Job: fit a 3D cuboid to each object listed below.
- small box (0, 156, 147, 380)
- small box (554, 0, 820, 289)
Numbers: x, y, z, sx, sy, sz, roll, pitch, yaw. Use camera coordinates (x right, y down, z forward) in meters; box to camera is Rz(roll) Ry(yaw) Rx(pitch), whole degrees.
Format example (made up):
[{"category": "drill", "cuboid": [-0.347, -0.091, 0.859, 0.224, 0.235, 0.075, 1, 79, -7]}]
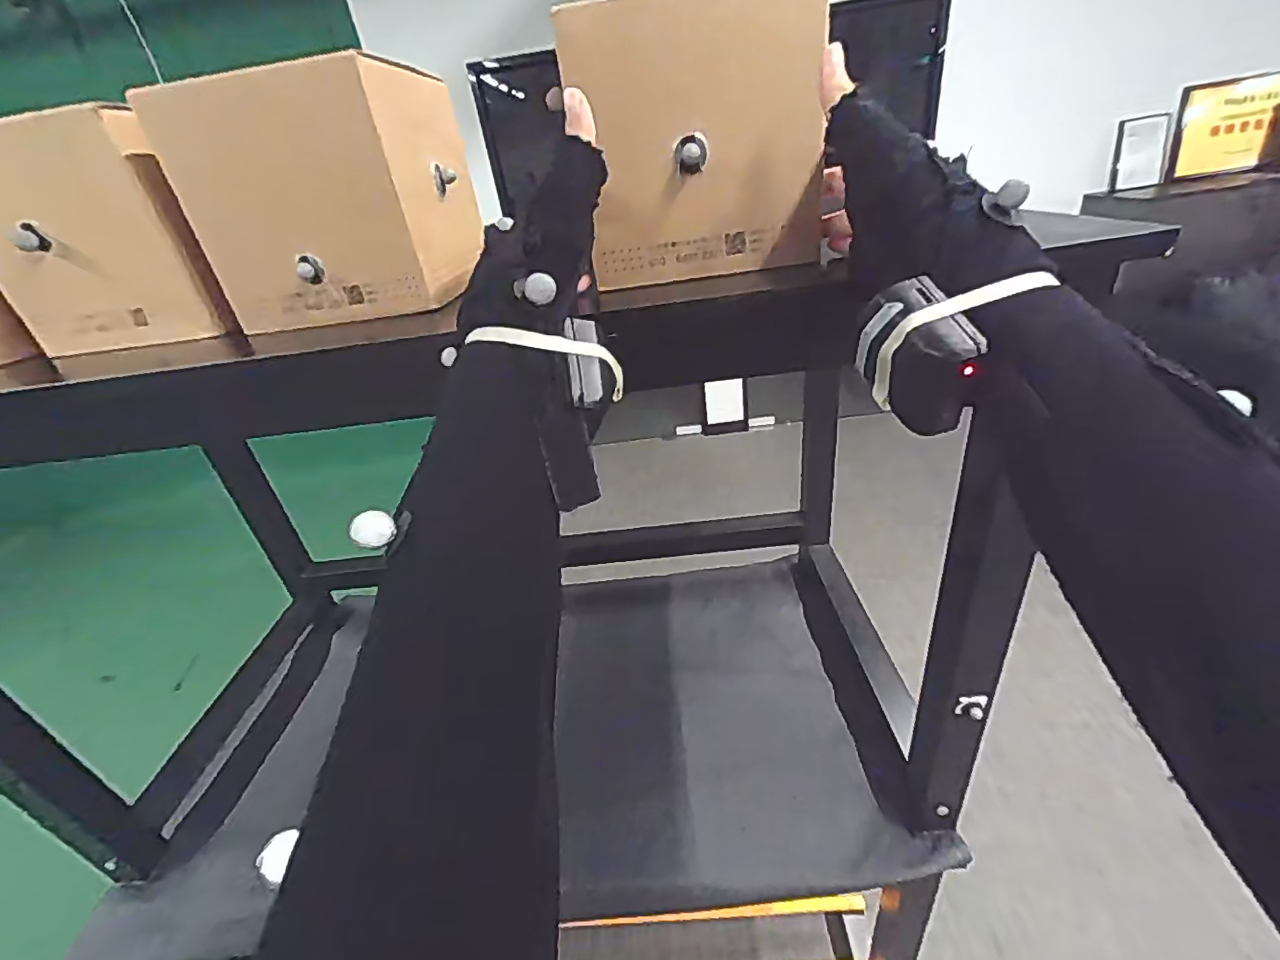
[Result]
[{"category": "small box", "cuboid": [-0.632, -0.198, 0.511, 0.168, 0.176, 0.179, -5, 31, 6]}, {"category": "small box", "cuboid": [0.041, -0.257, 0.430, 0.168, 0.176, 0.179, -6, 30, 5]}]
